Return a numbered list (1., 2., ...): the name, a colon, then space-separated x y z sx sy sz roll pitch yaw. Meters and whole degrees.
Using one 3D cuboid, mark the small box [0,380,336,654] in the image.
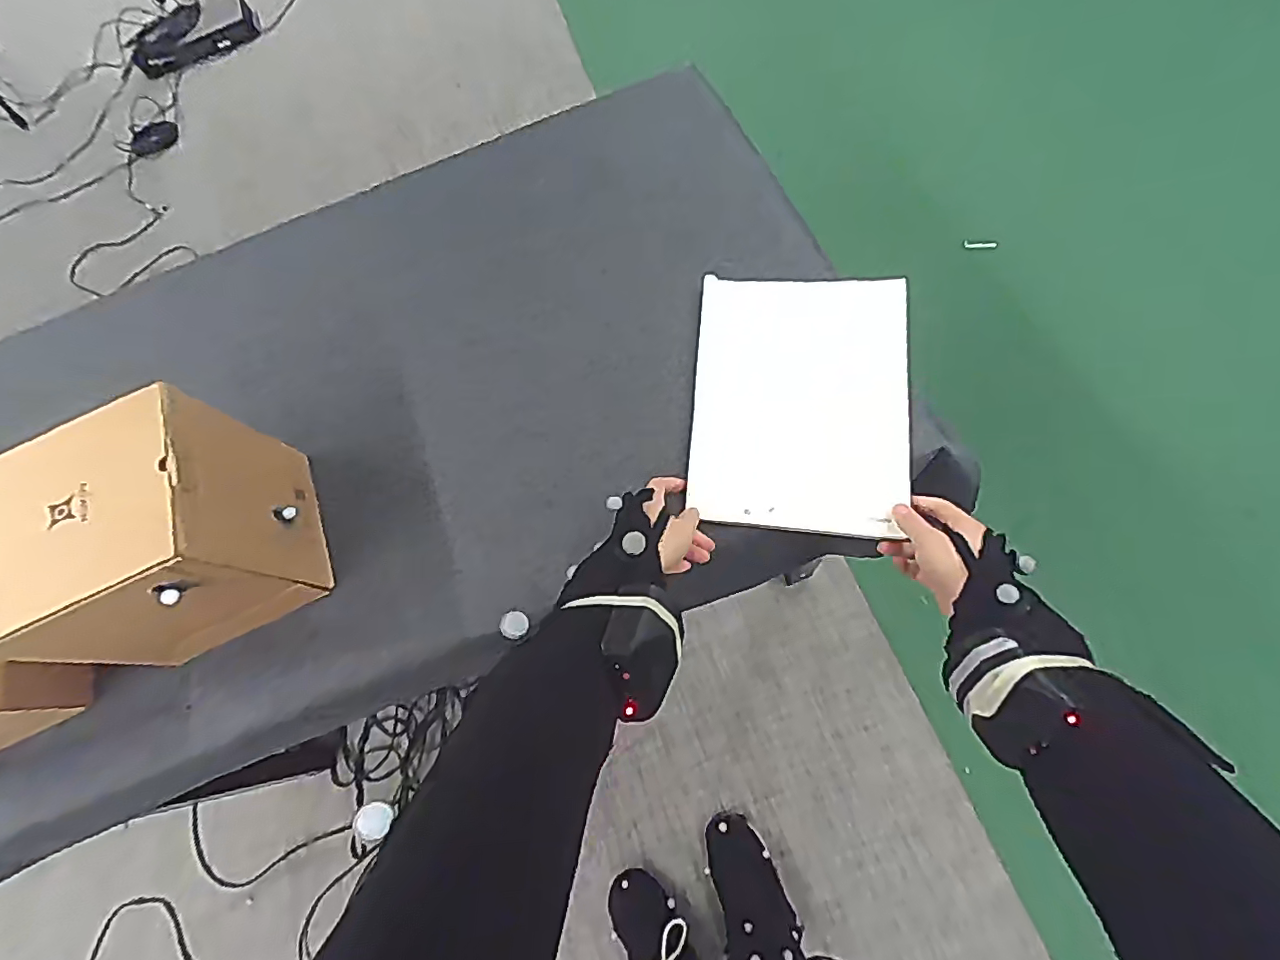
1. small box: -0.422 0.048 0.494 0.179 0.176 0.168 -26 68 -1
